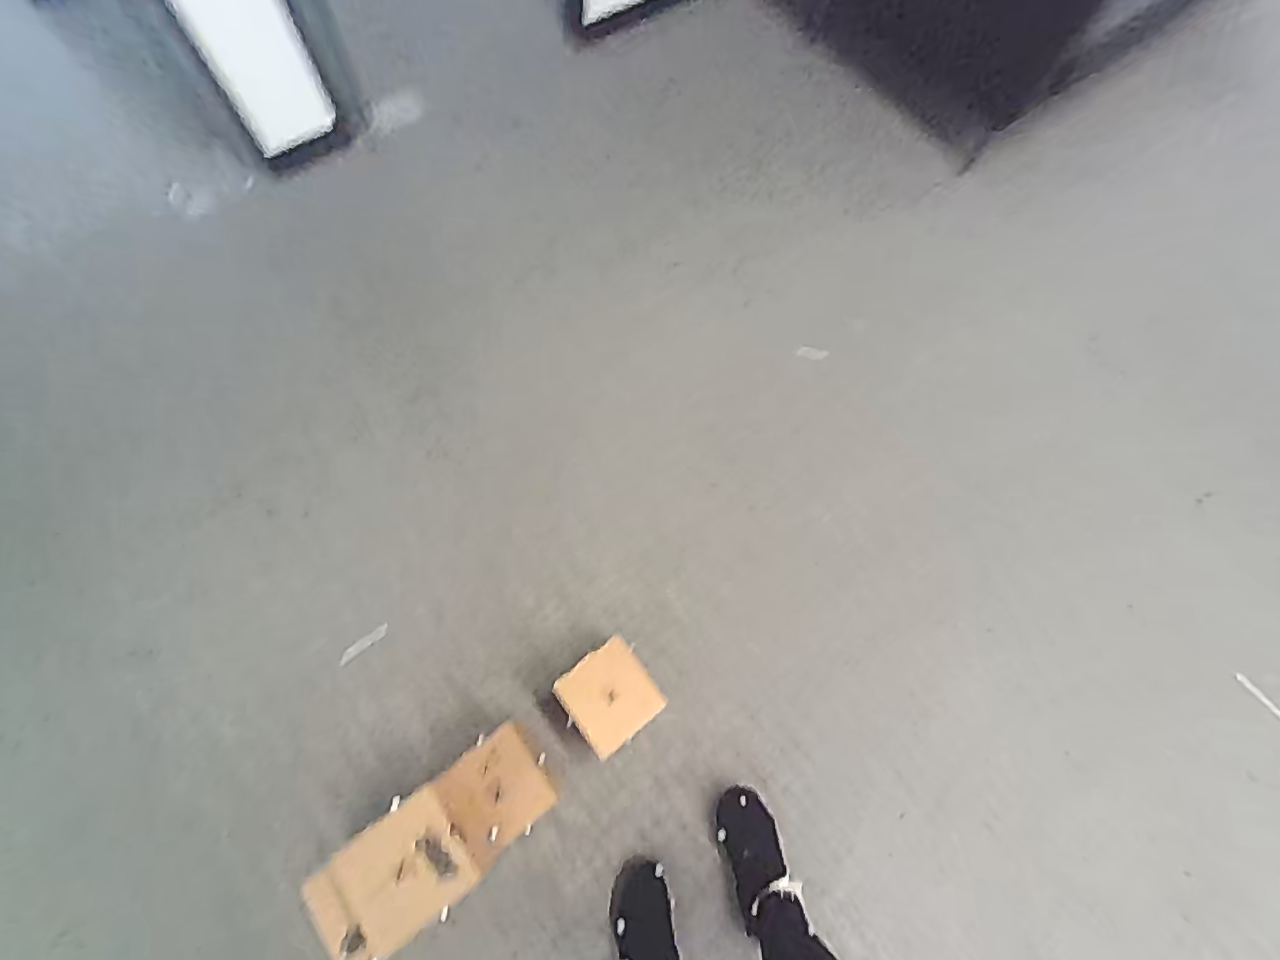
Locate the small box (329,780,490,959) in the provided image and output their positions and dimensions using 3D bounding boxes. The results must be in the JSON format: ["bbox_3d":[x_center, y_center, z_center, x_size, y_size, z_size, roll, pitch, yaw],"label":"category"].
[{"bbox_3d":[-0.366,0.633,0.899,0.179,0.176,0.168,-33,74,-16],"label":"small box"}]

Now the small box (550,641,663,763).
[{"bbox_3d":[-0.071,0.471,1.164,0.168,0.176,0.179,-35,75,-16],"label":"small box"}]
